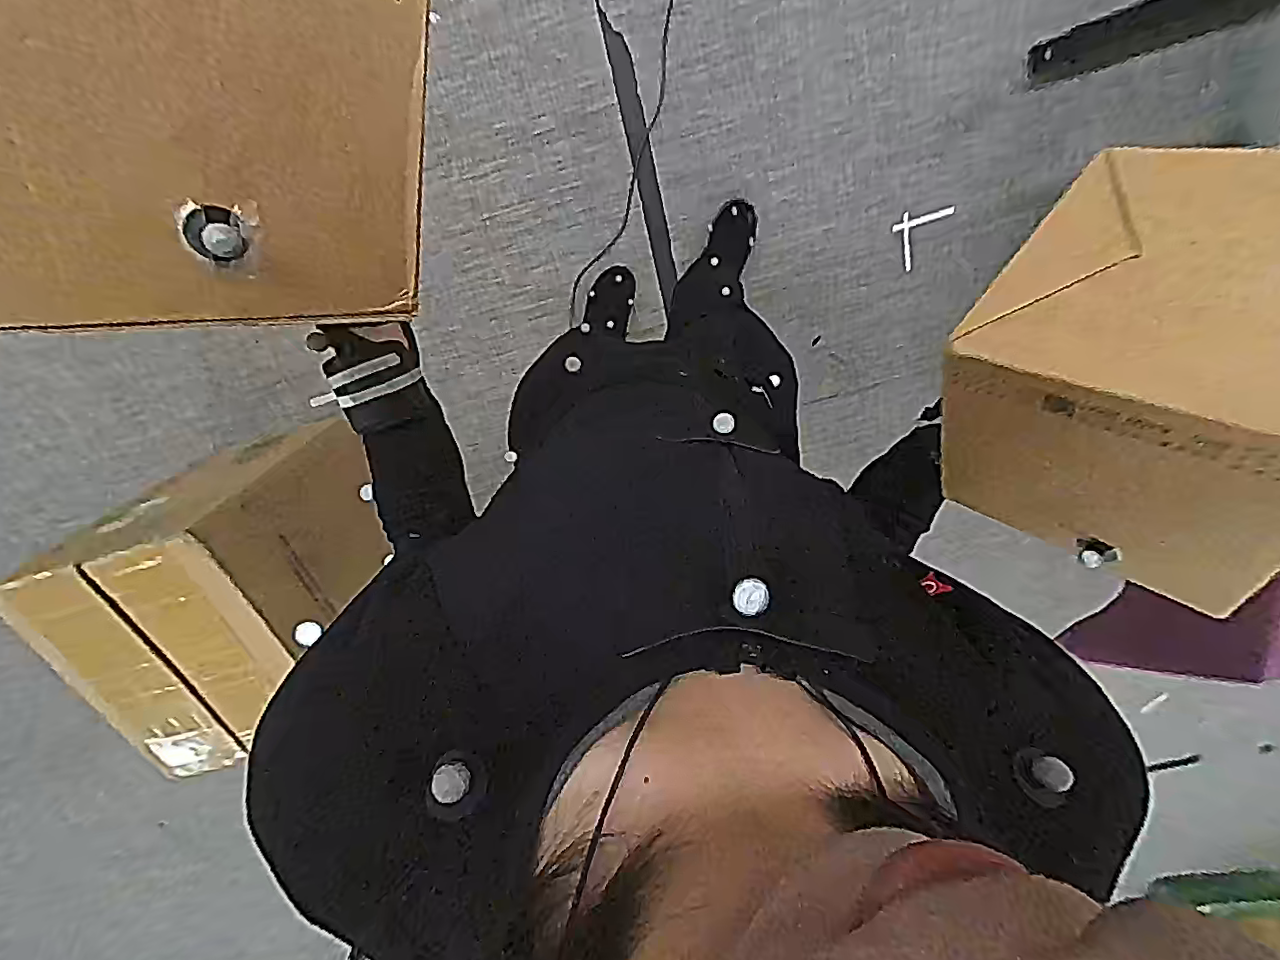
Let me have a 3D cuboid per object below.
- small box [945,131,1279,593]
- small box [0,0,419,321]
[{"bbox_3d":[0.304,-0.071,0.311,0.179,0.168,0.176,-50,137,-8],"label":"small box"},{"bbox_3d":[-0.210,-0.184,0.229,0.179,0.168,0.176,-16,136,-40],"label":"small box"}]
